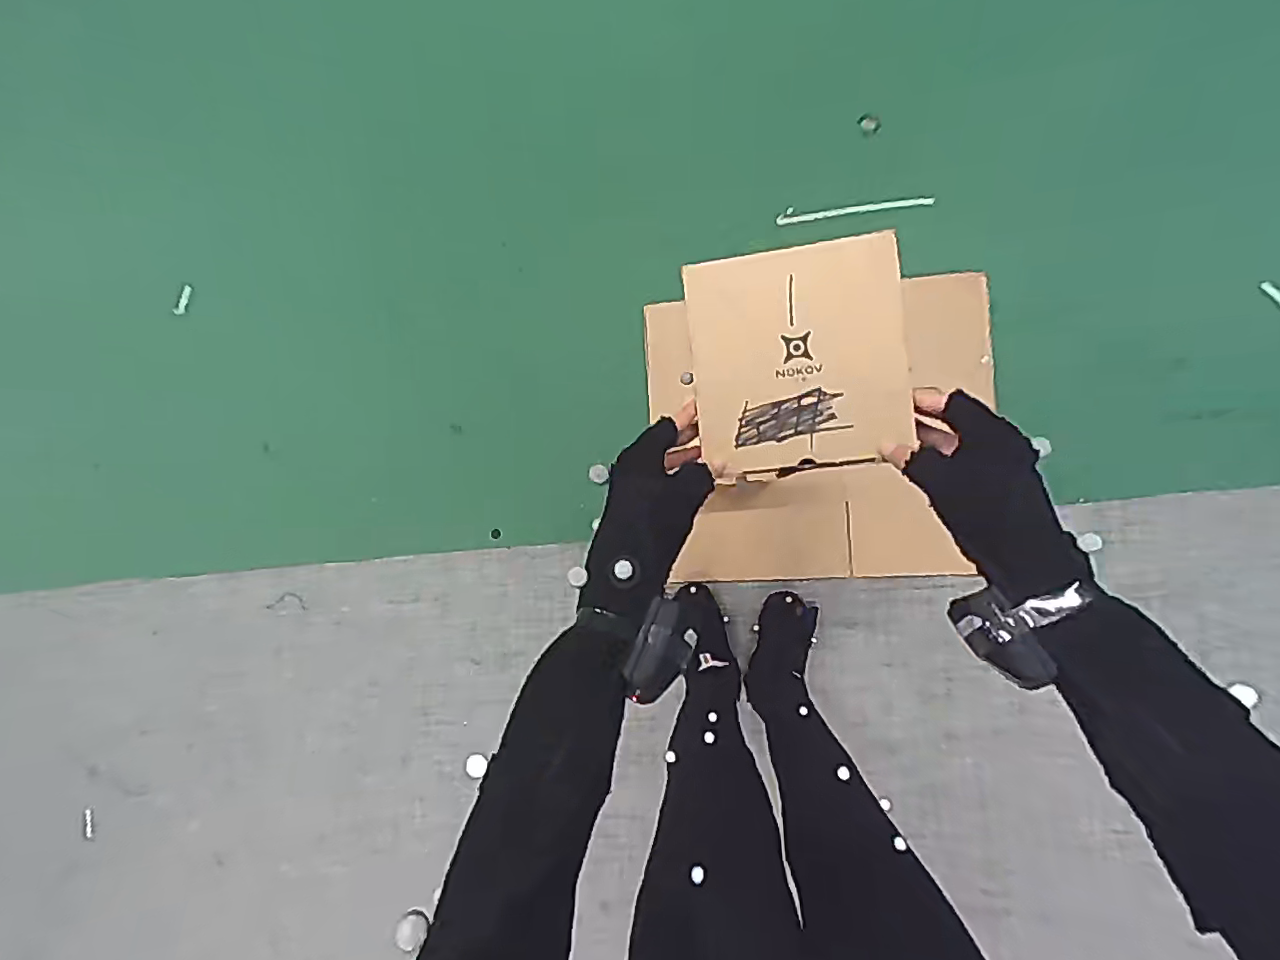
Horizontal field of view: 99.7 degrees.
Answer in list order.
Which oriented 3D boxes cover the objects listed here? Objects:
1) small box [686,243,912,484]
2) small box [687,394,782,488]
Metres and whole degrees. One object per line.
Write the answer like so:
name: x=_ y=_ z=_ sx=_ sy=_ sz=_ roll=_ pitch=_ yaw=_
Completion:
small box: x=0.139 y=-0.093 z=0.511 sx=0.168 sy=0.176 sz=0.179 roll=-6 pitch=90 yaw=9
small box: x=0.184 y=-0.076 z=1.068 sx=0.168 sy=0.176 sz=0.179 roll=-5 pitch=89 yaw=10
